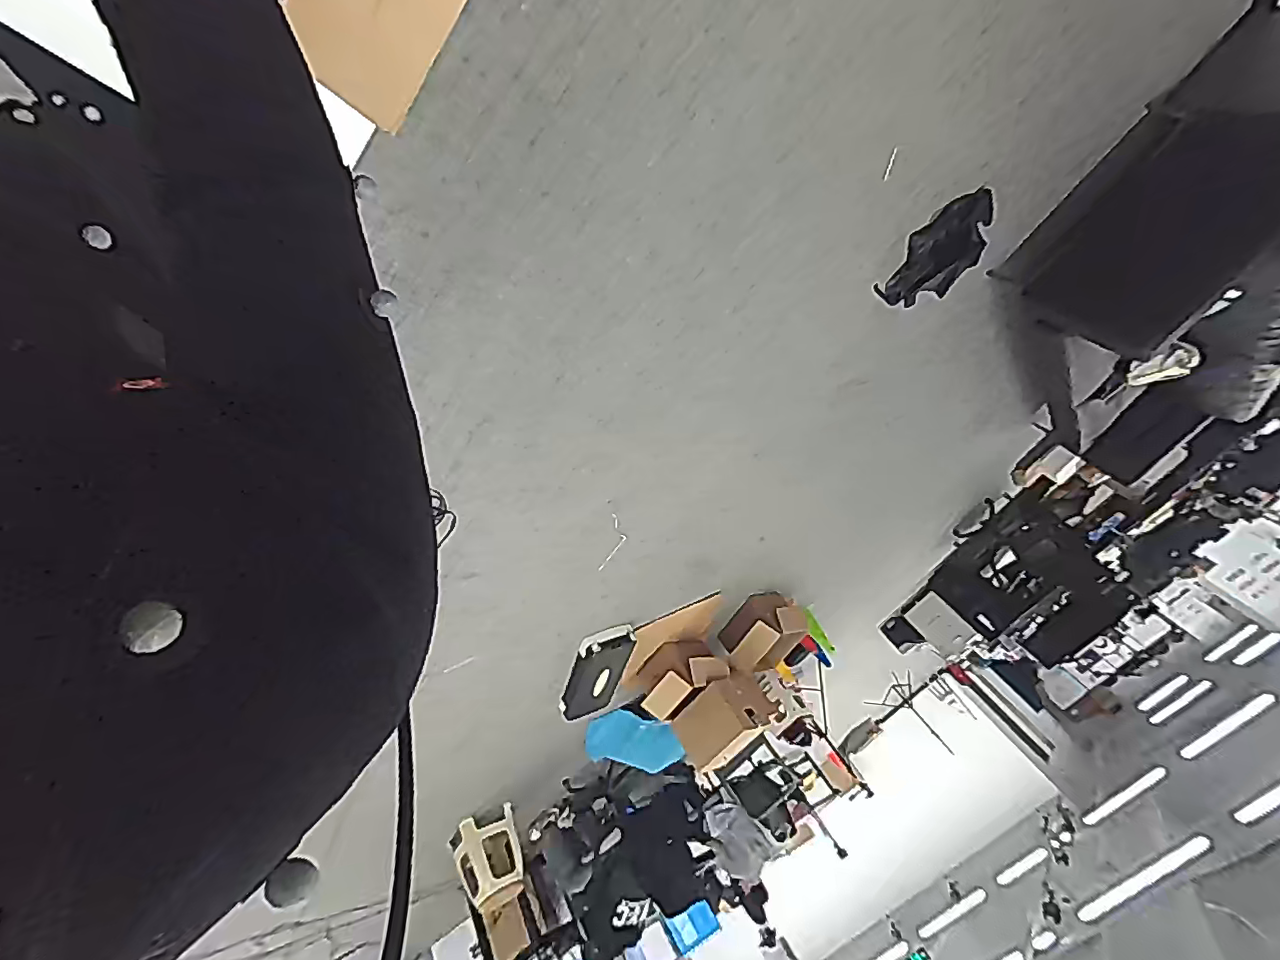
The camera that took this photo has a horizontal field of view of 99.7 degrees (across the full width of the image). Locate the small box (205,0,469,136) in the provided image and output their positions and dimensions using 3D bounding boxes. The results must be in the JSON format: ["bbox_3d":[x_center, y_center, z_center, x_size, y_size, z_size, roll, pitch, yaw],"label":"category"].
[{"bbox_3d":[-0.232,-0.391,0.378,0.179,0.176,0.168,21,115,-49],"label":"small box"}]
